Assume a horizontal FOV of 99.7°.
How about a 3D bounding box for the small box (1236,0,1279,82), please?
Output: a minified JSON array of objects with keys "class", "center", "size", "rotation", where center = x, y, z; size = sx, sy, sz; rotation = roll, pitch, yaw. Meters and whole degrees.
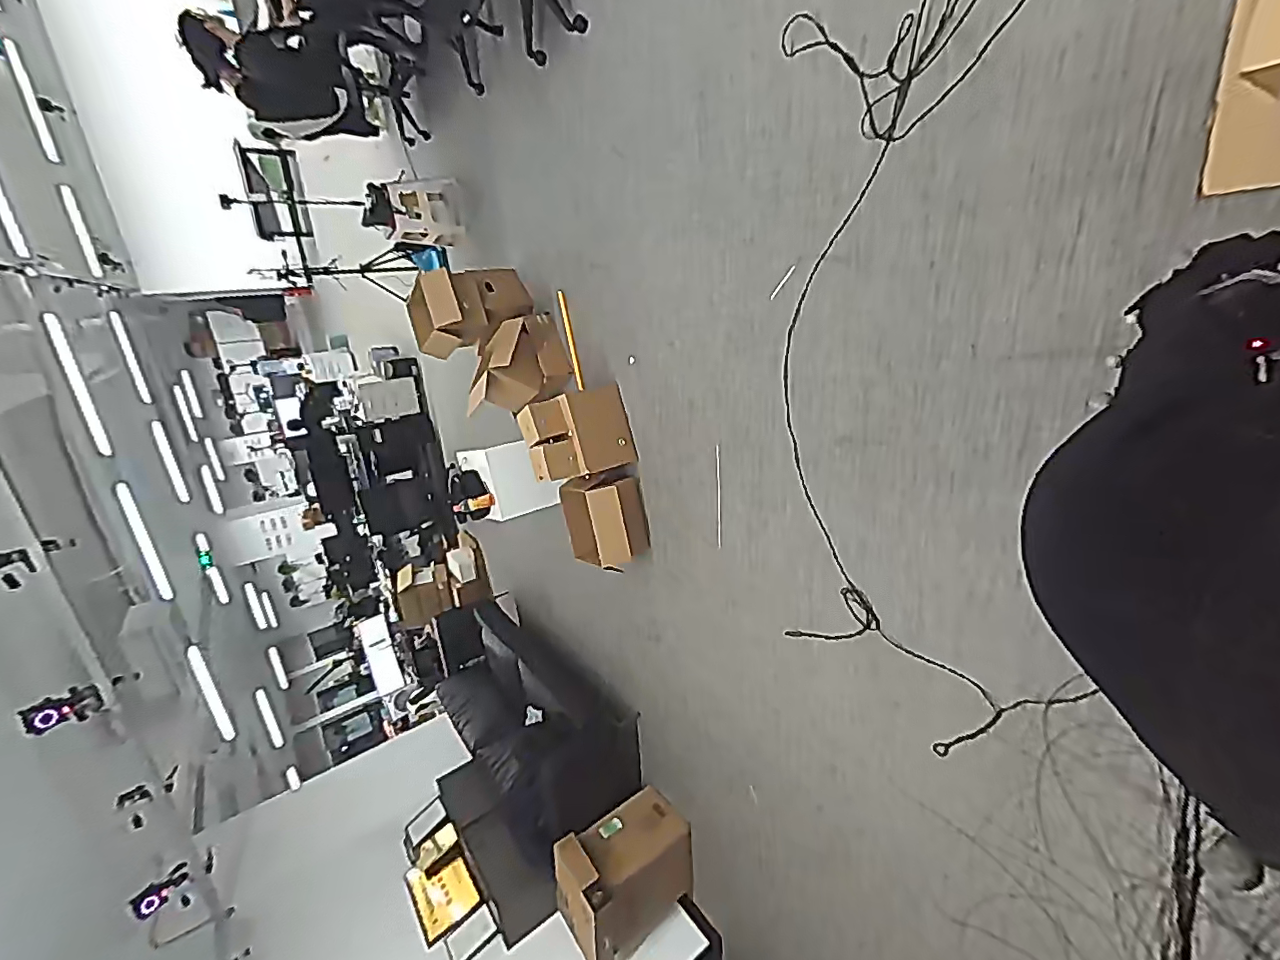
[{"class":"small box","center":[0.910,-0.635,0.679],"size":[0.168,0.176,0.179],"rotation":[24,125,51]}]
